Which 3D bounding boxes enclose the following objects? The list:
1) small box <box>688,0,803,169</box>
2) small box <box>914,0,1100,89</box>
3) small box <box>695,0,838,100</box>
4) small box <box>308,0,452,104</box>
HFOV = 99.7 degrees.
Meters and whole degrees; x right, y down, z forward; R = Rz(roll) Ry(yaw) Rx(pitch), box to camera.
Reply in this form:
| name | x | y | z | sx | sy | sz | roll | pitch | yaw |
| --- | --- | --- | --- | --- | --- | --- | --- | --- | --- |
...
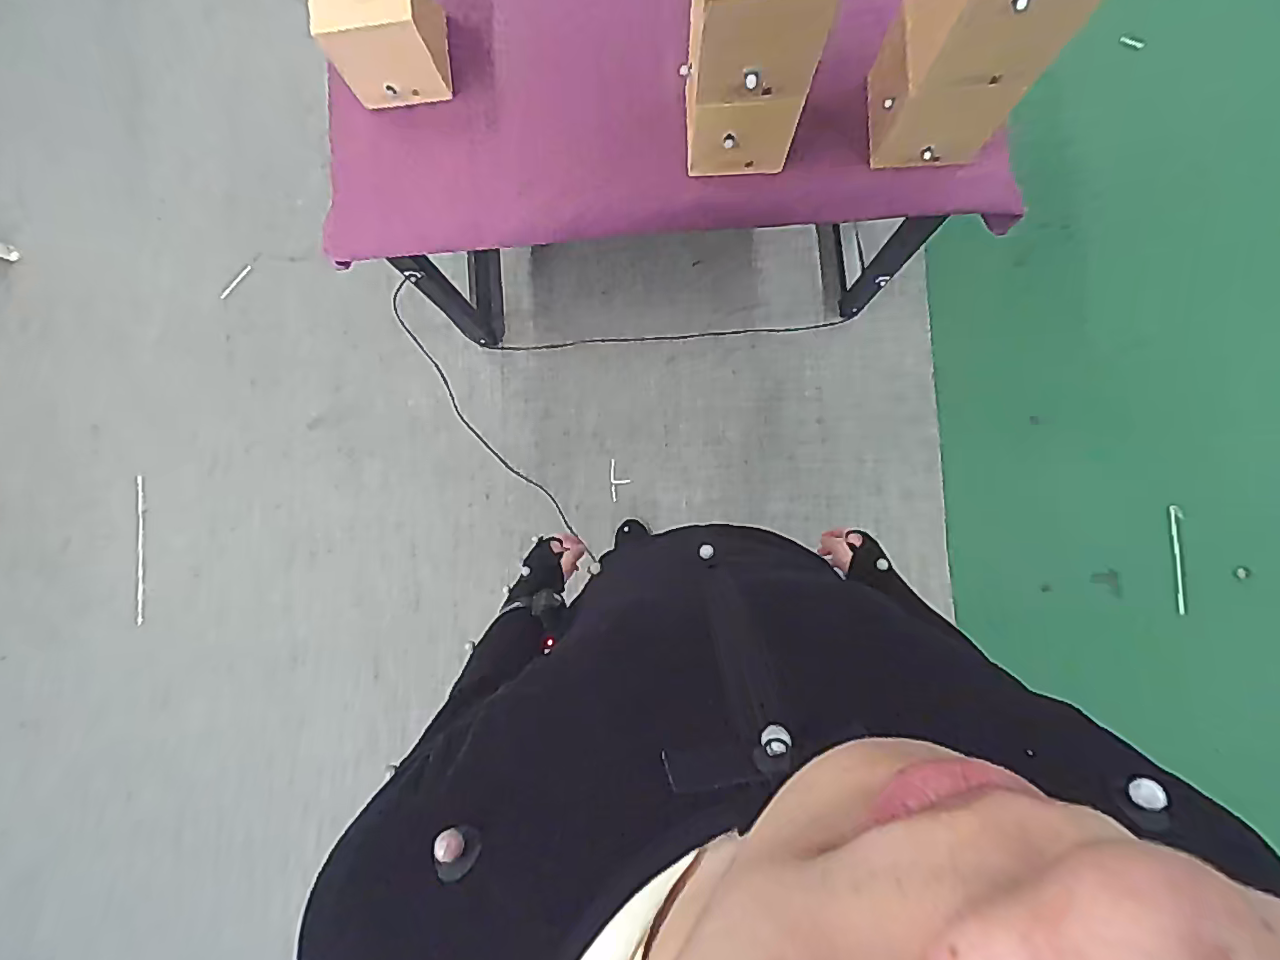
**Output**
| name | x | y | z | sx | sy | sz | roll | pitch | yaw |
| --- | --- | --- | --- | --- | --- | --- | --- | --- | --- |
| small box | 0.166 | -0.639 | 0.887 | 0.168 | 0.176 | 0.179 | -1 | 85 | 3 |
| small box | 0.476 | -0.657 | 0.705 | 0.168 | 0.176 | 0.179 | 0 | 85 | 4 |
| small box | 0.160 | -0.655 | 0.723 | 0.168 | 0.176 | 0.179 | -1 | 85 | 3 |
| small box | -0.437 | -0.792 | 0.924 | 0.168 | 0.176 | 0.179 | -6 | 87 | 3 |
